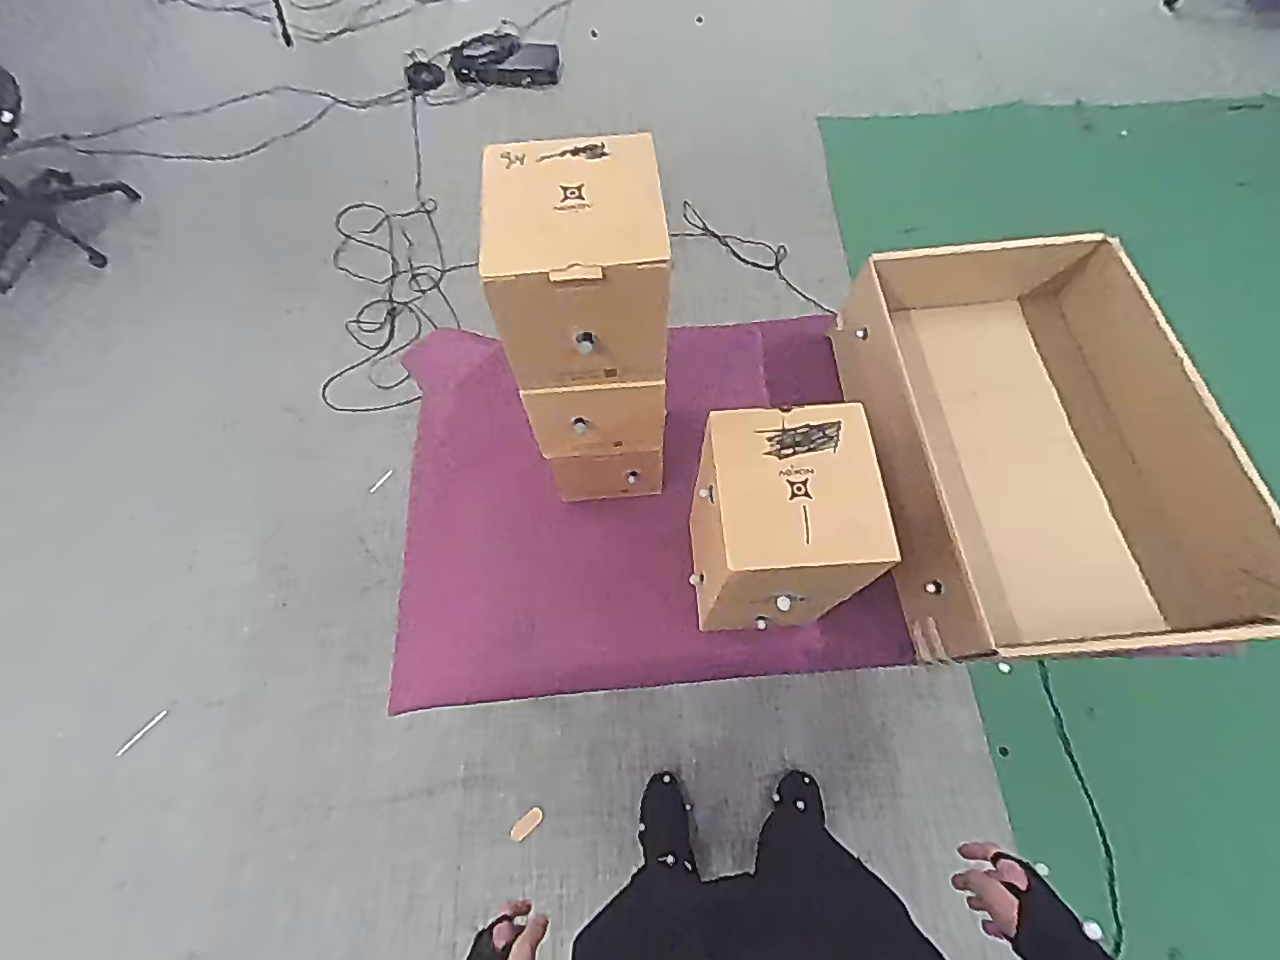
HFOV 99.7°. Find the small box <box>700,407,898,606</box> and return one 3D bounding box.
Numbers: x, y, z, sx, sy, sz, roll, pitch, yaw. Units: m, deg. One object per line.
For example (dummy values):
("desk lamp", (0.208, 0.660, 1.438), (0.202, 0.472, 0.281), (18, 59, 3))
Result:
("small box", (0.161, 0.037, 0.616), (0.168, 0.176, 0.179), (-3, 66, 1))

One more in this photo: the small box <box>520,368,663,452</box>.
("small box", (-0.057, -0.146, 0.711), (0.168, 0.176, 0.179), (-4, 65, -1))

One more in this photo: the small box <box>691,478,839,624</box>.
("small box", (0.164, 0.104, 0.765), (0.168, 0.176, 0.179), (-3, 65, 0))

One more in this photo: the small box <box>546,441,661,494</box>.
("small box", (-0.052, -0.085, 0.861), (0.168, 0.176, 0.179), (-4, 66, -1))

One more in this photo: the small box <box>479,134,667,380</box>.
("small box", (-0.060, -0.218, 0.564), (0.168, 0.176, 0.179), (-5, 66, -1))
